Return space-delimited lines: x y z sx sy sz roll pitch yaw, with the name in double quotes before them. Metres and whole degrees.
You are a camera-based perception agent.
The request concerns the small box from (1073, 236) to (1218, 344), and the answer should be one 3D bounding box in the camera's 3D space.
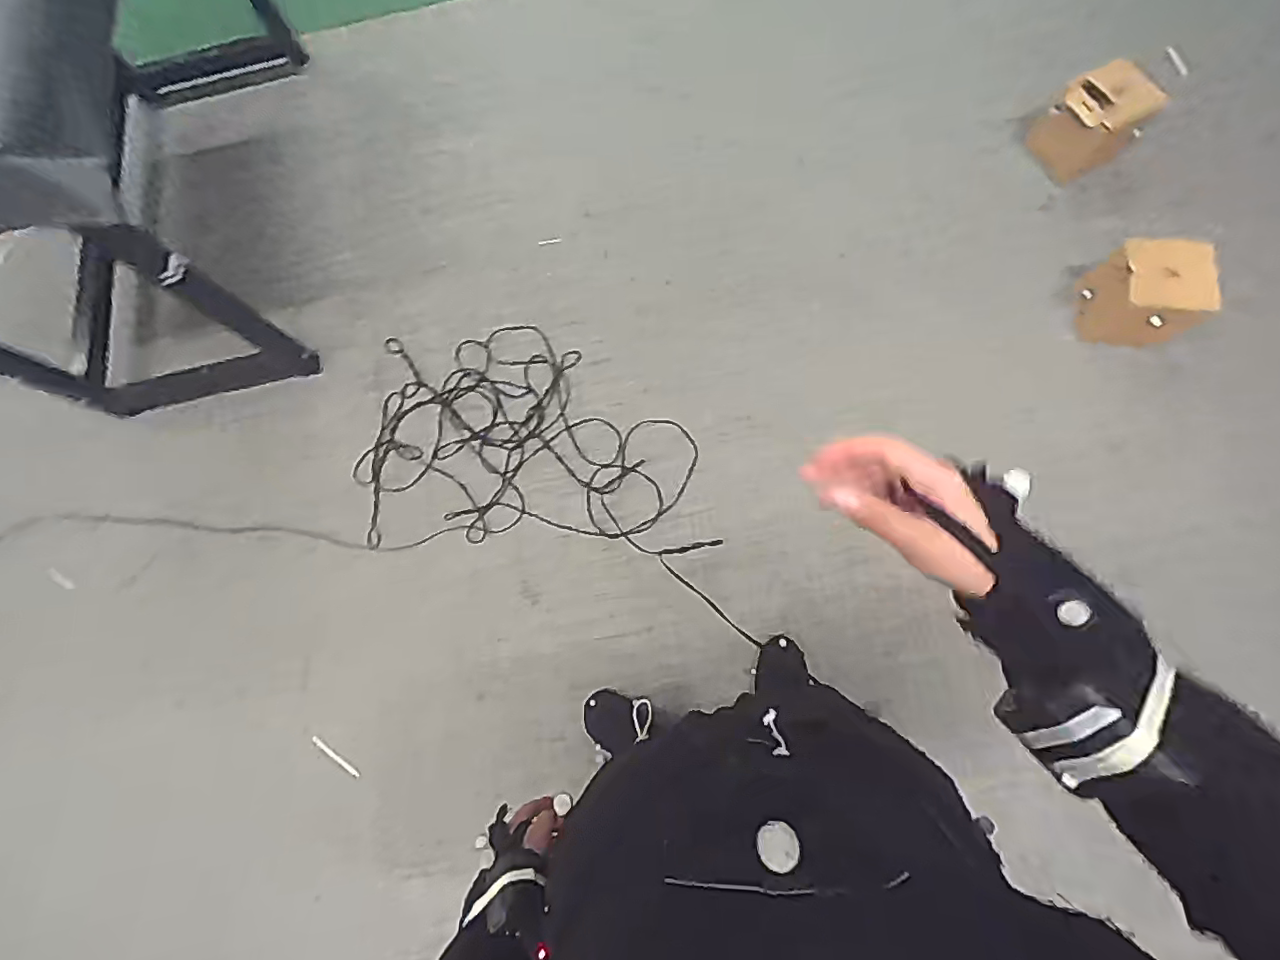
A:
"small box" 1.139 -0.425 1.232 0.179 0.176 0.168 6 77 7
